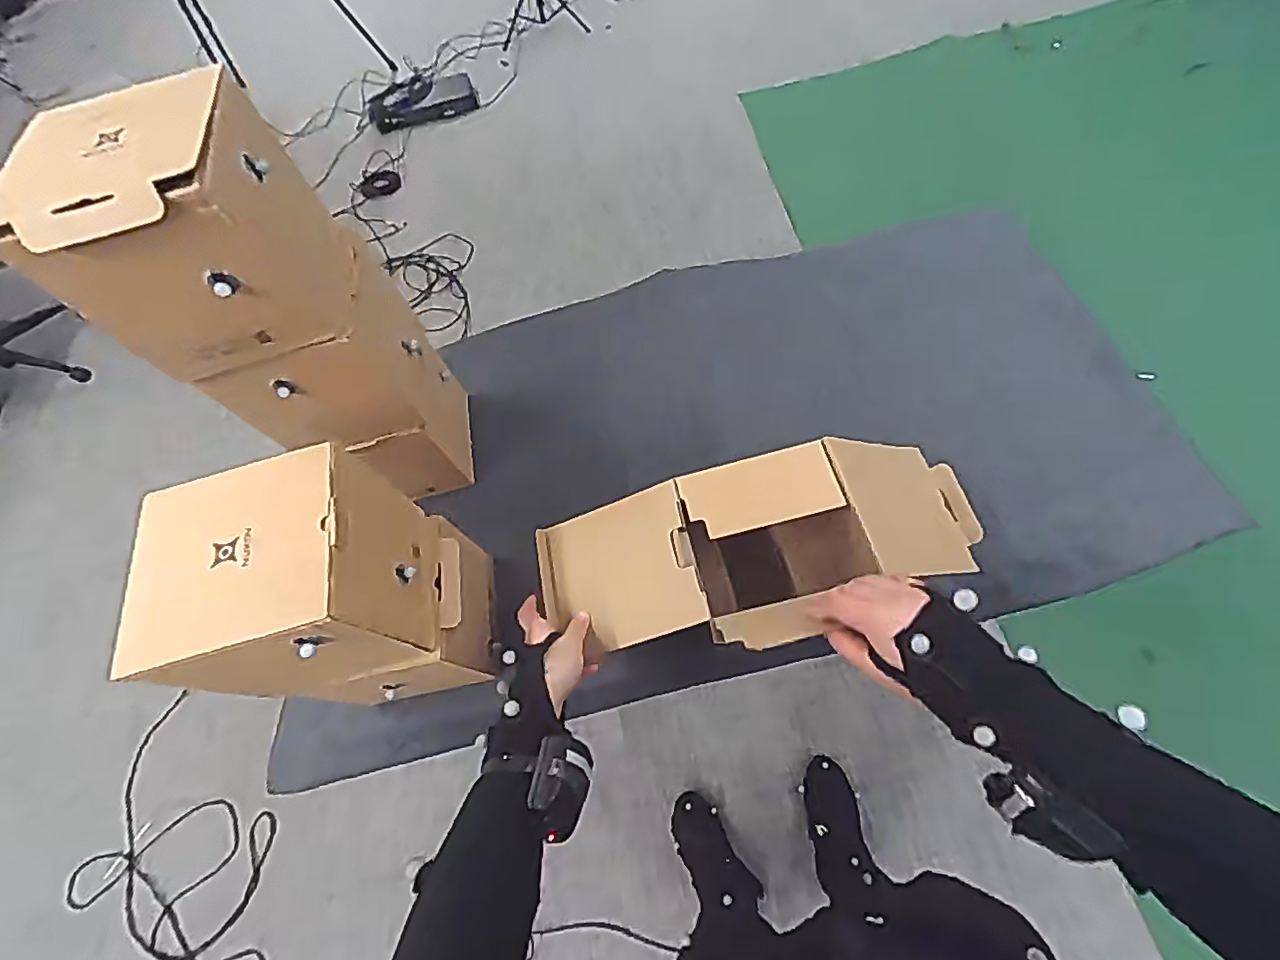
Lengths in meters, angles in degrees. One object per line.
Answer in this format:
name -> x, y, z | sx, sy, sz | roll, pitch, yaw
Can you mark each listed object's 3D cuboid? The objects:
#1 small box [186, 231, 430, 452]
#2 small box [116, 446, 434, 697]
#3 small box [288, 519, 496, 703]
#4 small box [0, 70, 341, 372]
small box -> -0.372, -0.153, 0.640 | 0.179, 0.176, 0.168 | -14, 64, 2
small box -> -0.321, 0.097, 0.515 | 0.179, 0.176, 0.168 | -17, 63, 0
small box -> -0.284, 0.167, 0.658 | 0.179, 0.176, 0.168 | -13, 63, 3
small box -> -0.400, -0.220, 0.496 | 0.168, 0.176, 0.179 | -17, 62, -1
